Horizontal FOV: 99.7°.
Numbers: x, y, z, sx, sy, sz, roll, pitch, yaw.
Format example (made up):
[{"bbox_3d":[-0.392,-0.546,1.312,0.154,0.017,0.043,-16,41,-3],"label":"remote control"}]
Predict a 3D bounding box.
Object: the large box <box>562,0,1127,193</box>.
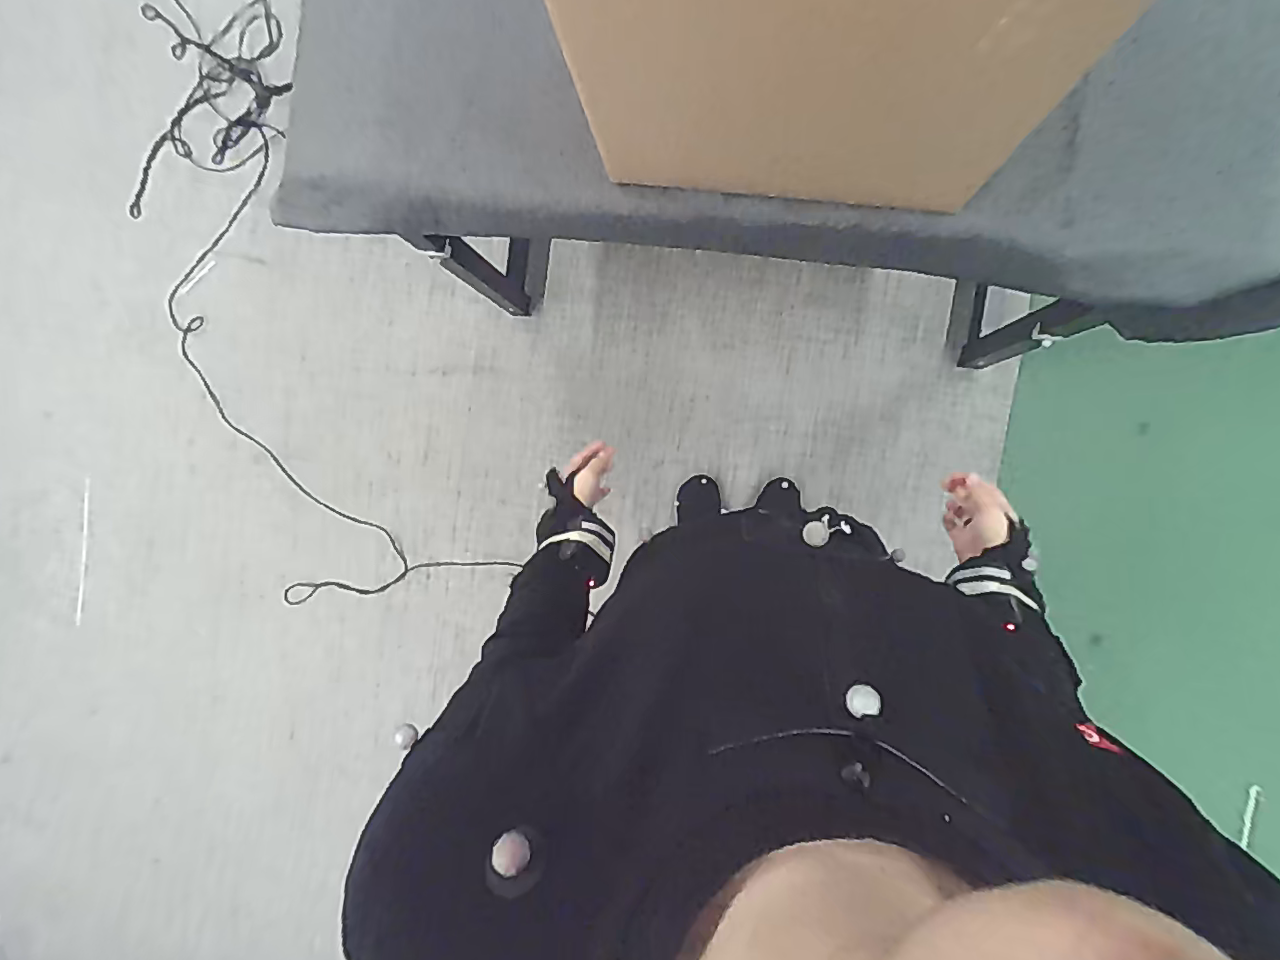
[{"bbox_3d":[0.161,-0.490,0.473,0.408,0.320,0.320,9,92,7],"label":"large box"}]
